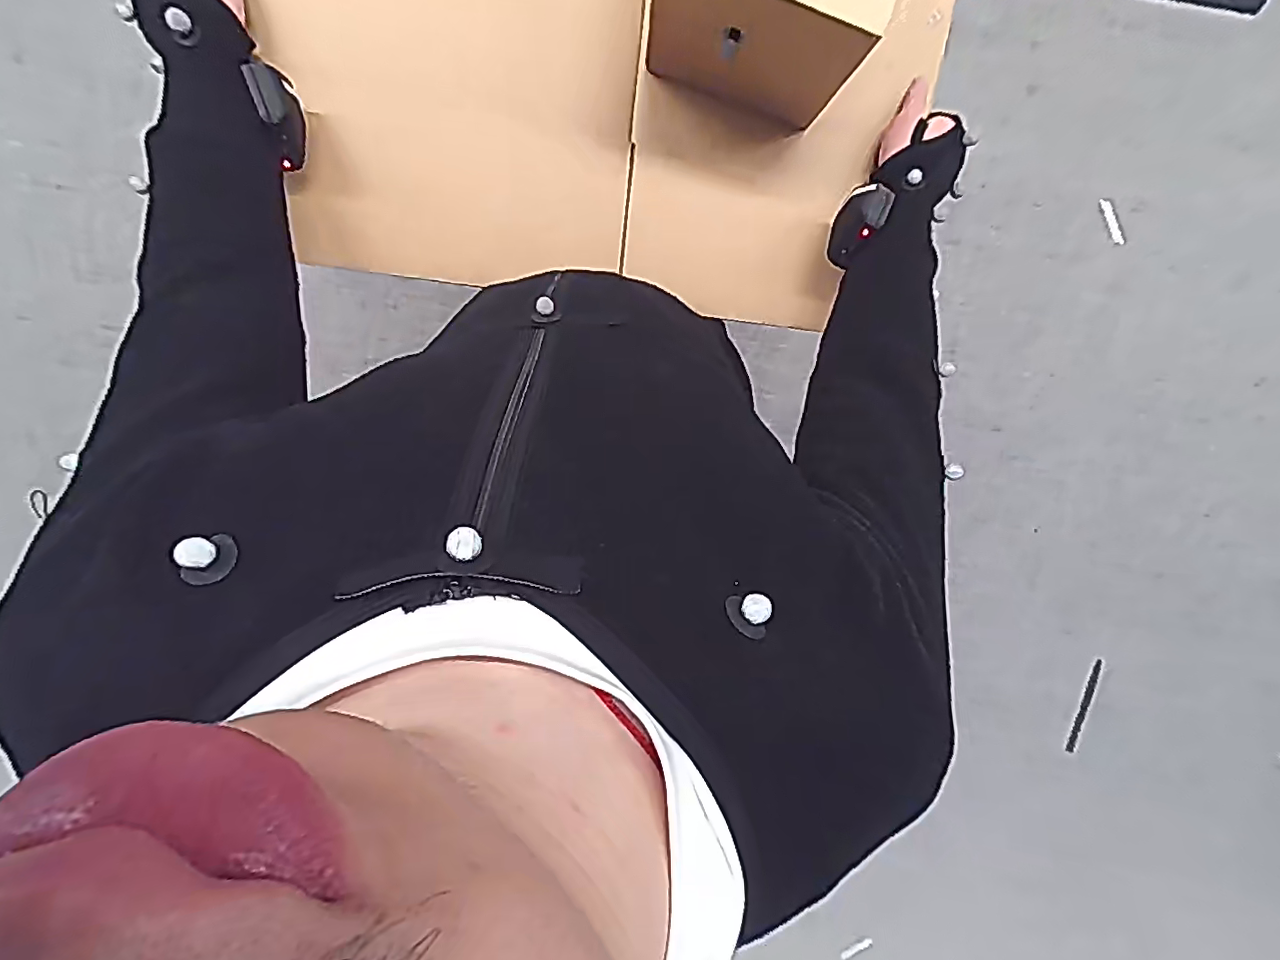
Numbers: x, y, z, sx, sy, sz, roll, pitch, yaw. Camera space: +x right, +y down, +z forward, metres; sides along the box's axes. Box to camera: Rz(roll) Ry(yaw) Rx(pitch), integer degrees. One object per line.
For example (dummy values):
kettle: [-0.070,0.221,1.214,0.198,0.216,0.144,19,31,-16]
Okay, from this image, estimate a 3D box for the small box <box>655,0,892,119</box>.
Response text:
small box: [0.117,-0.442,0.452,0.179,0.176,0.168,17,102,-5]
